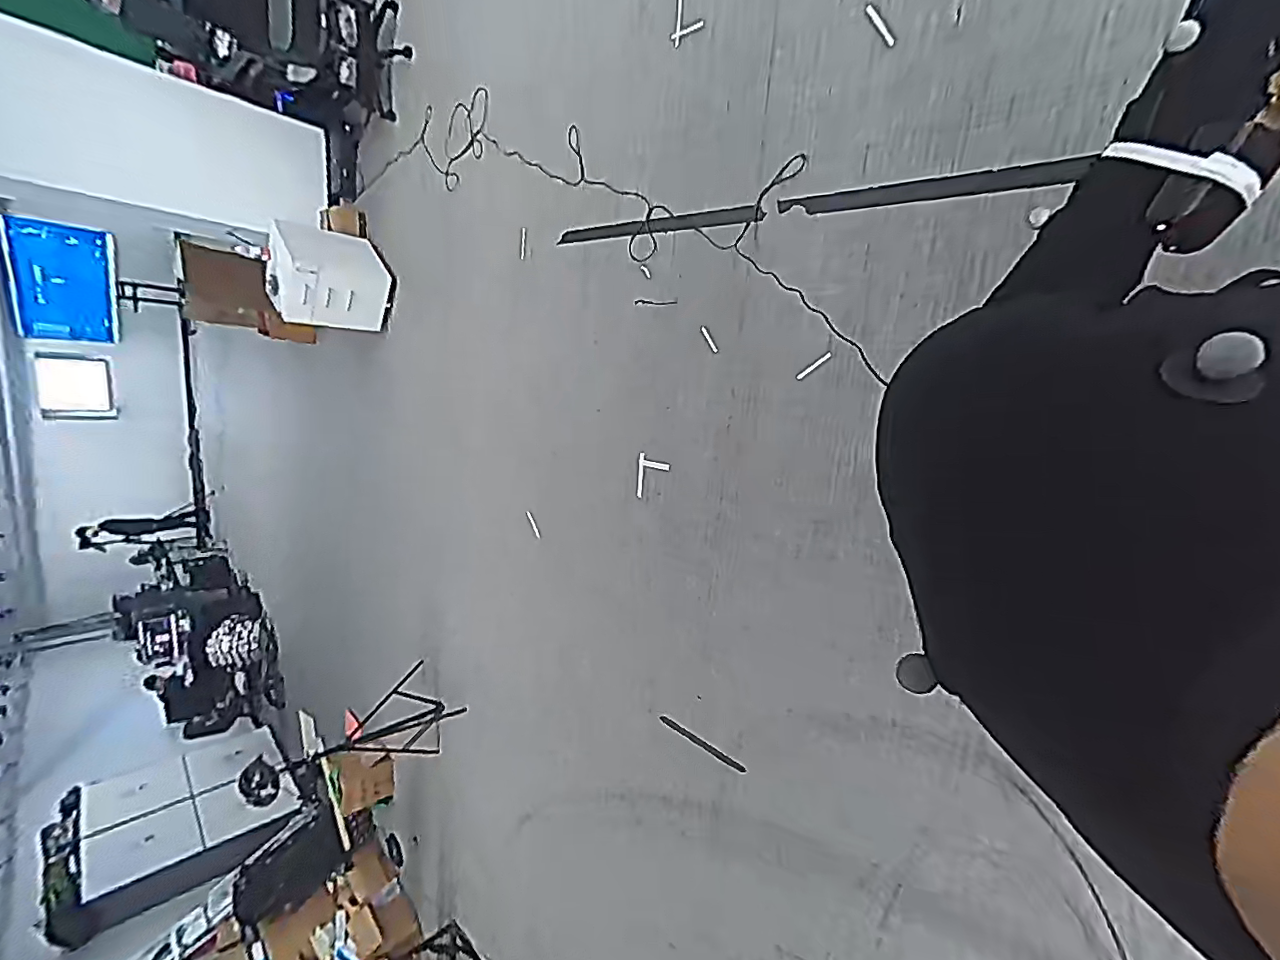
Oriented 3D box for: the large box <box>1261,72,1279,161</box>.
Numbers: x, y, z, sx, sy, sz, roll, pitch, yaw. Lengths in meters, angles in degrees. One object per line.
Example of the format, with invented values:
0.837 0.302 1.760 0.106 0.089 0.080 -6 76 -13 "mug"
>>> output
0.672 -0.312 0.260 0.408 0.320 0.320 38 132 33 "large box"
